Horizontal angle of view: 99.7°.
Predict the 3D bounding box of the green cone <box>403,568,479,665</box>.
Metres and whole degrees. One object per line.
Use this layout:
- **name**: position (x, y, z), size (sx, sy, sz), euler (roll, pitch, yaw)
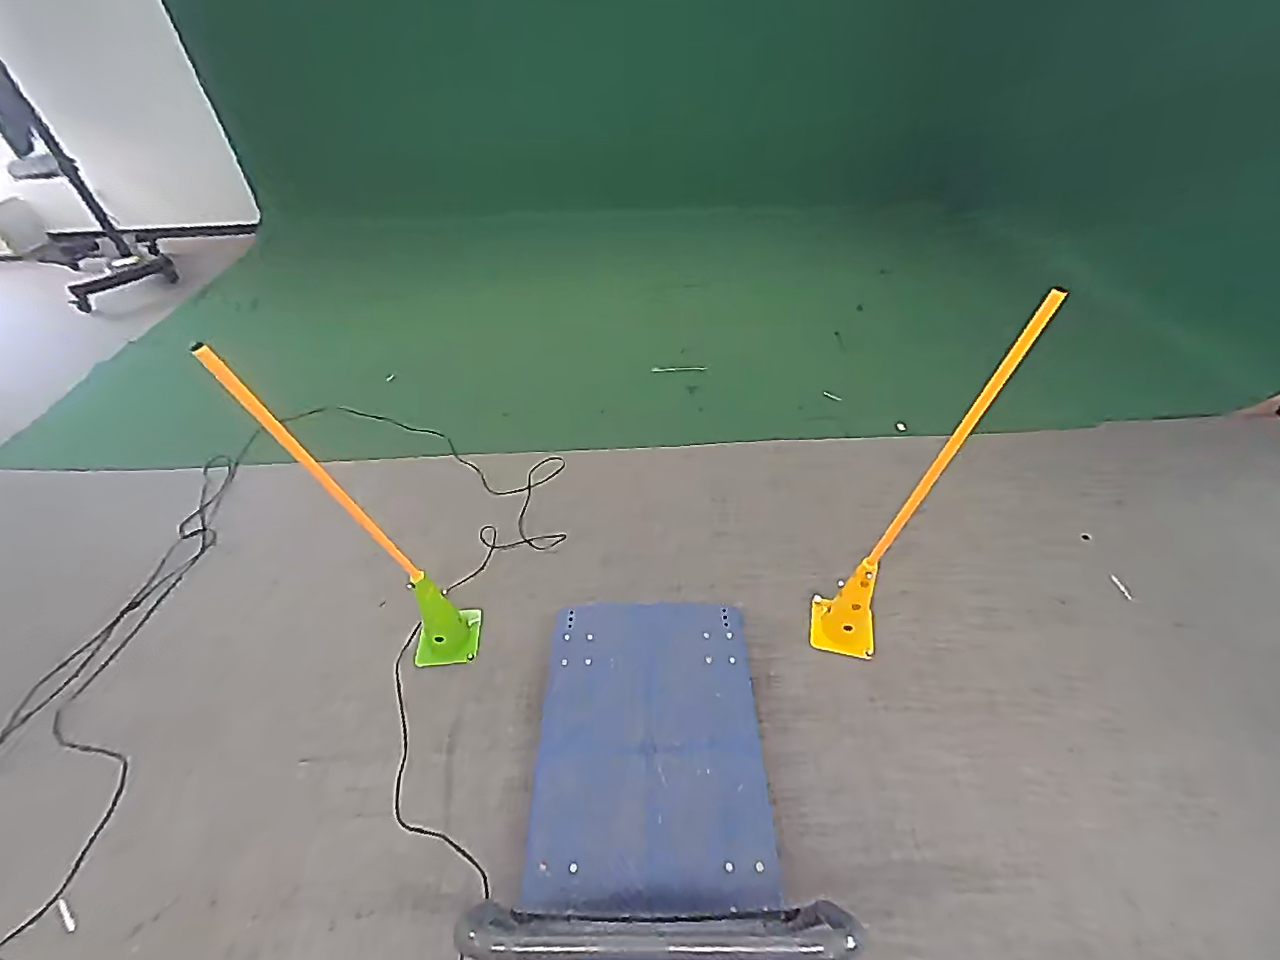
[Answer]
- **green cone**: position (-0.660, 0.398, 1.705), size (0.202, 0.368, 0.200), euler (-6, 44, -2)
